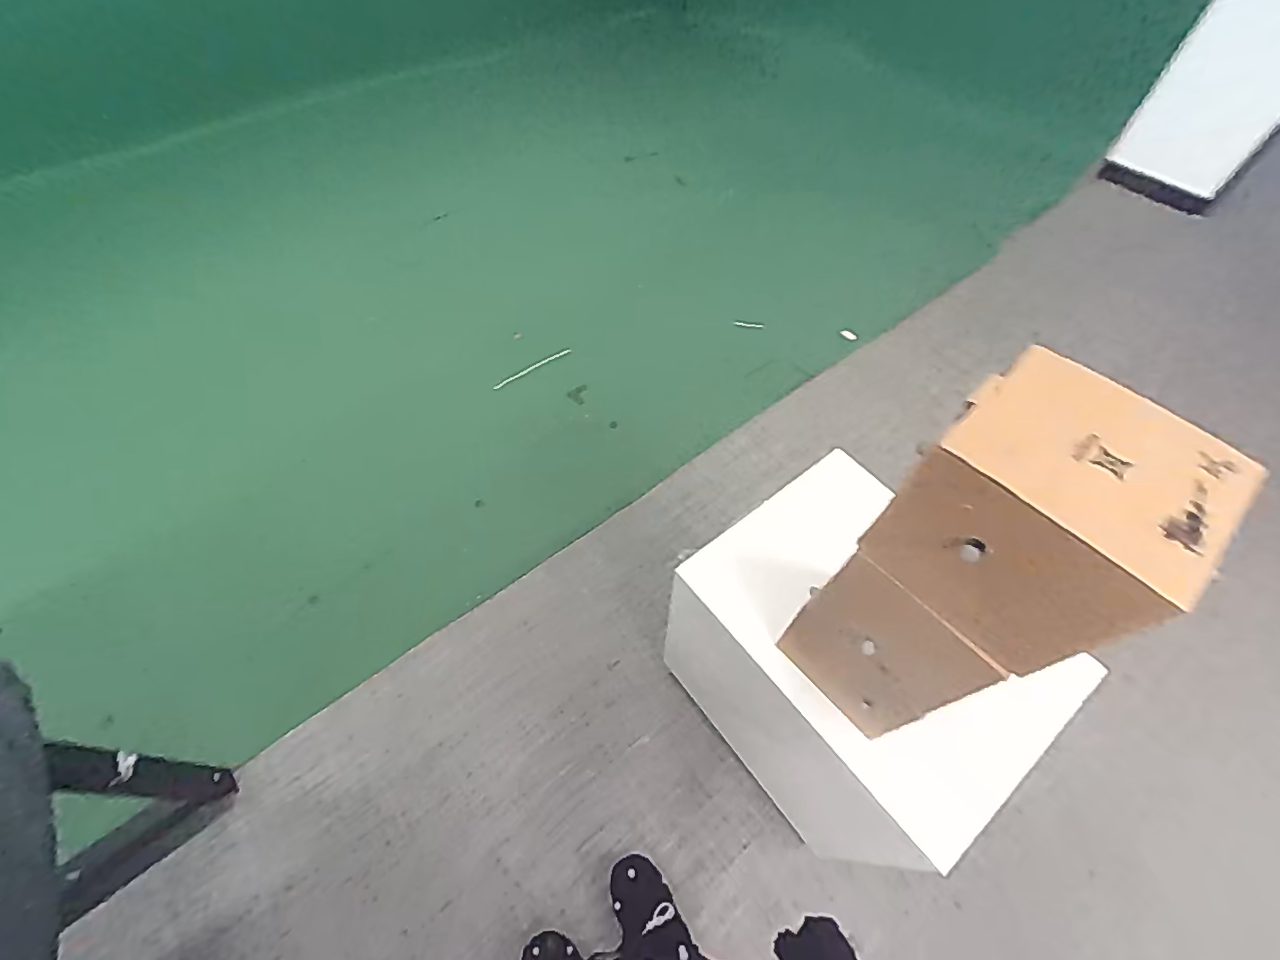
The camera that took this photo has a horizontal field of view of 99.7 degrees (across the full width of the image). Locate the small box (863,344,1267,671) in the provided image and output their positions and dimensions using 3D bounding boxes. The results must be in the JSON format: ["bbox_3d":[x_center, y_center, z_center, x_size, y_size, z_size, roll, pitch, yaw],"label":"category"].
[{"bbox_3d":[0.322,0.027,0.450,0.168,0.176,0.179,-37,63,-22],"label":"small box"}]

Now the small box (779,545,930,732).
[{"bbox_3d":[0.315,0.210,0.722,0.168,0.176,0.179,-36,62,-22],"label":"small box"}]

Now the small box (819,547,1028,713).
[{"bbox_3d":[0.324,0.118,0.586,0.179,0.176,0.168,-37,64,-24],"label":"small box"}]
